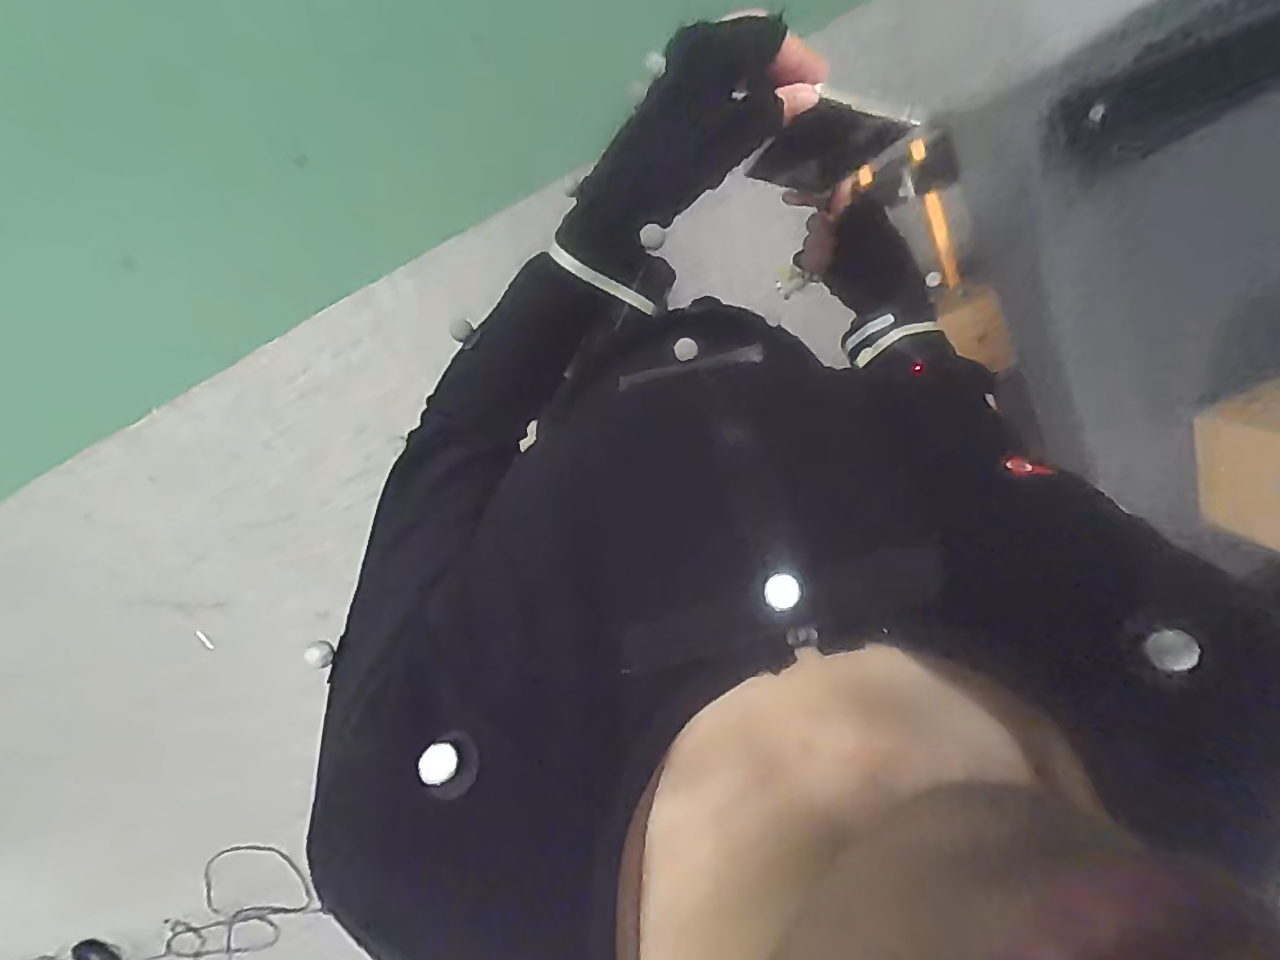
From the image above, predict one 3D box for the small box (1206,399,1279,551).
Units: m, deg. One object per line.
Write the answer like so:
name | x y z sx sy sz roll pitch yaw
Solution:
small box | 0.854 -0.007 0.658 0.168 0.176 0.179 -23 108 7
